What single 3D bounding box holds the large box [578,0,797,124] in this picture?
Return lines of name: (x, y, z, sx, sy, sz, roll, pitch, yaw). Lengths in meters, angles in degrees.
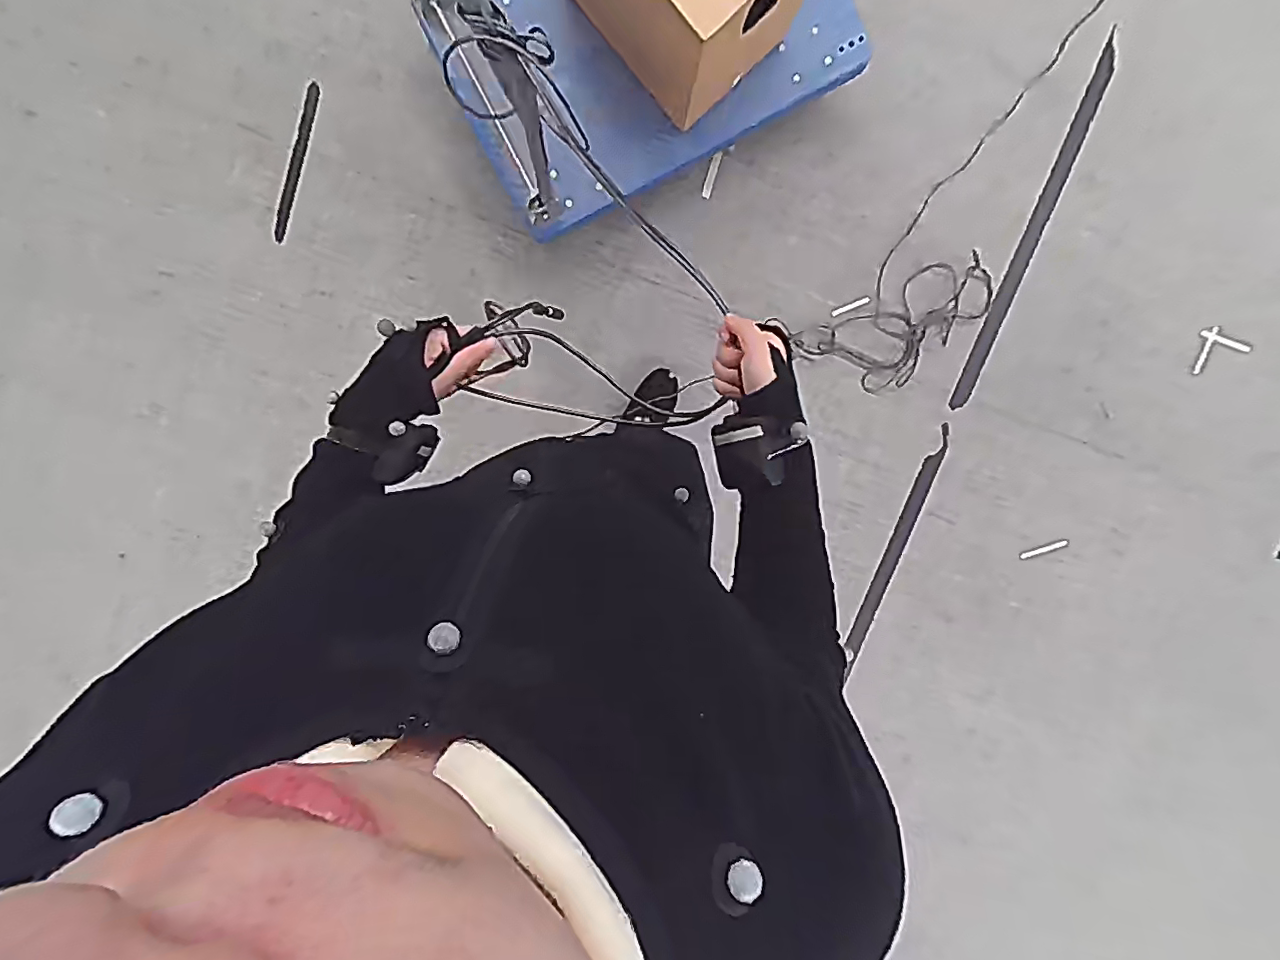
large box: (0.081, -1.006, 1.018, 0.320, 0.320, 0.408, -43, 99, 5)
